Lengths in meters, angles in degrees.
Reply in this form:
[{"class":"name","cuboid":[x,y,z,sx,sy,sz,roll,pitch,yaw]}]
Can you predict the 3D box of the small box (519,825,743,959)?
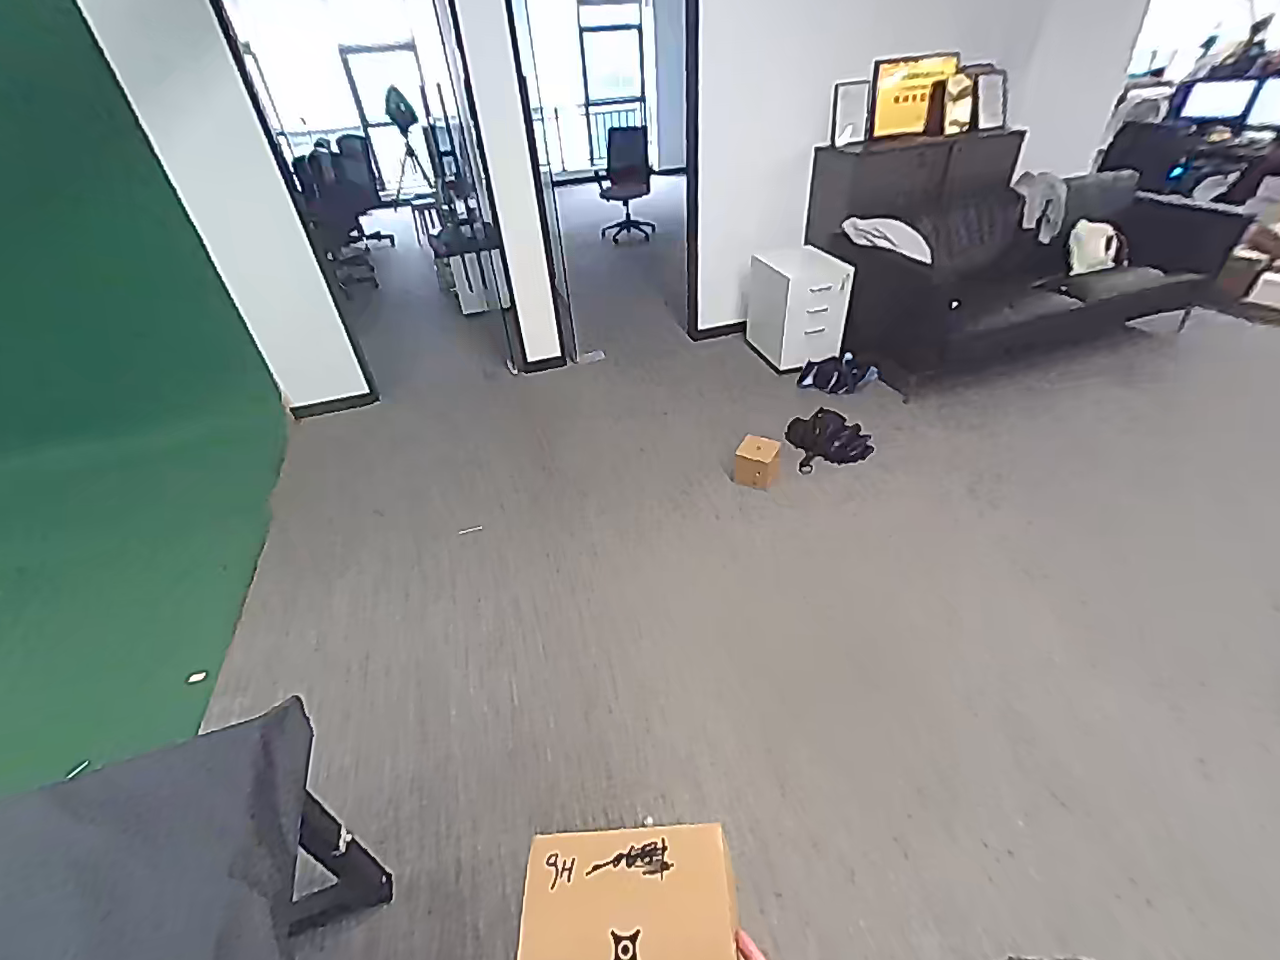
[{"class":"small box","cuboid":[0.002,0.410,0.446,0.168,0.176,0.179,-6,43,5]}]
